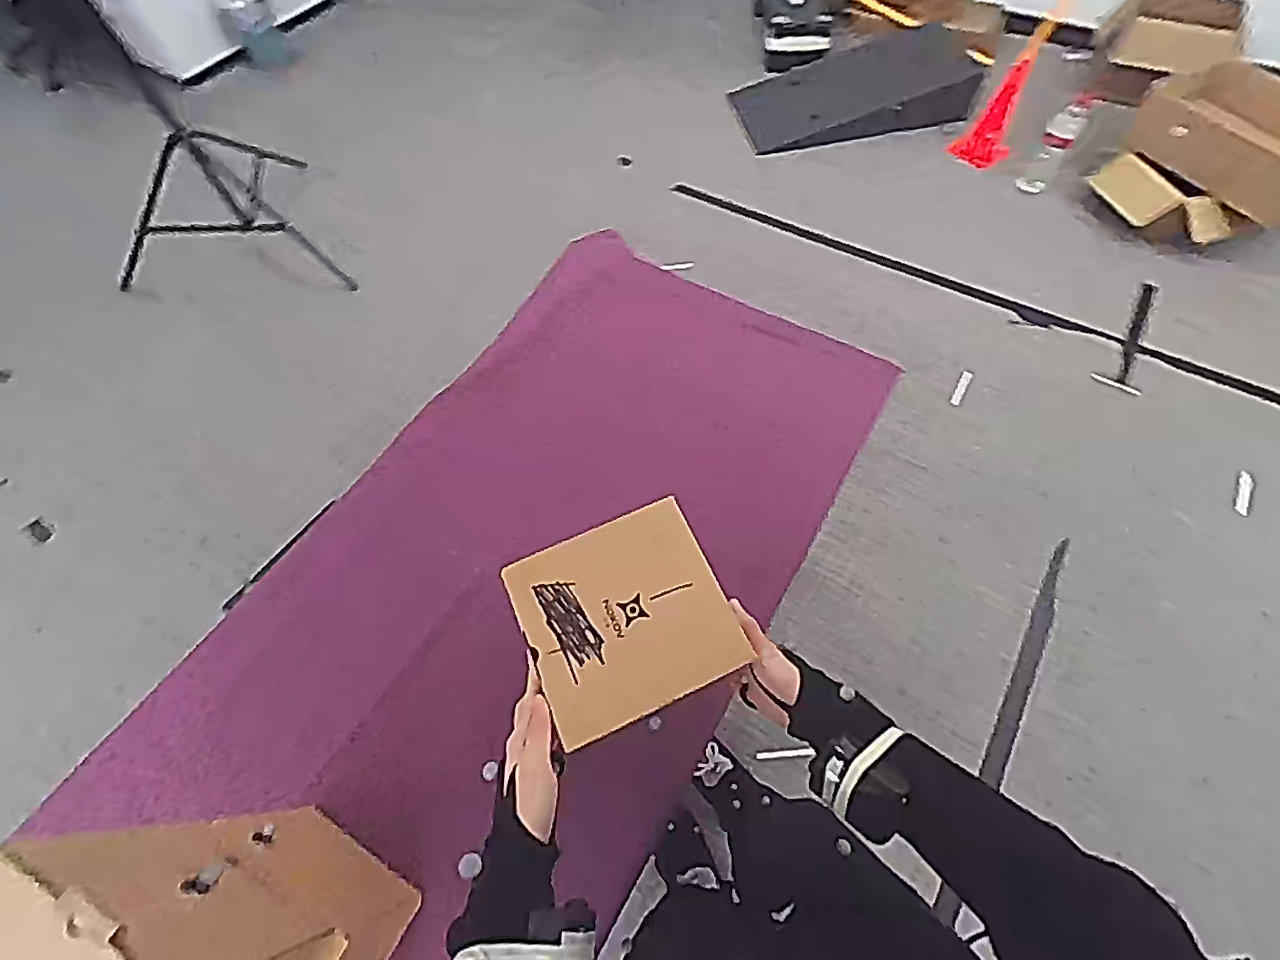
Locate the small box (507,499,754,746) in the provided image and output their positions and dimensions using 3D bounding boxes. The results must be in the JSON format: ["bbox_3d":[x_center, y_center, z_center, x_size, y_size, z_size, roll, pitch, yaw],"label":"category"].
[{"bbox_3d":[-0.009,0.149,0.544,0.179,0.176,0.168,-22,67,-8],"label":"small box"}]

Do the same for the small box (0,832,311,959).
[{"bbox_3d":[-0.363,0.367,0.360,0.168,0.176,0.179,23,65,14],"label":"small box"}]

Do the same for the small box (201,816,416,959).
[{"bbox_3d":[-0.348,0.443,0.505,0.179,0.176,0.168,25,66,15],"label":"small box"}]
